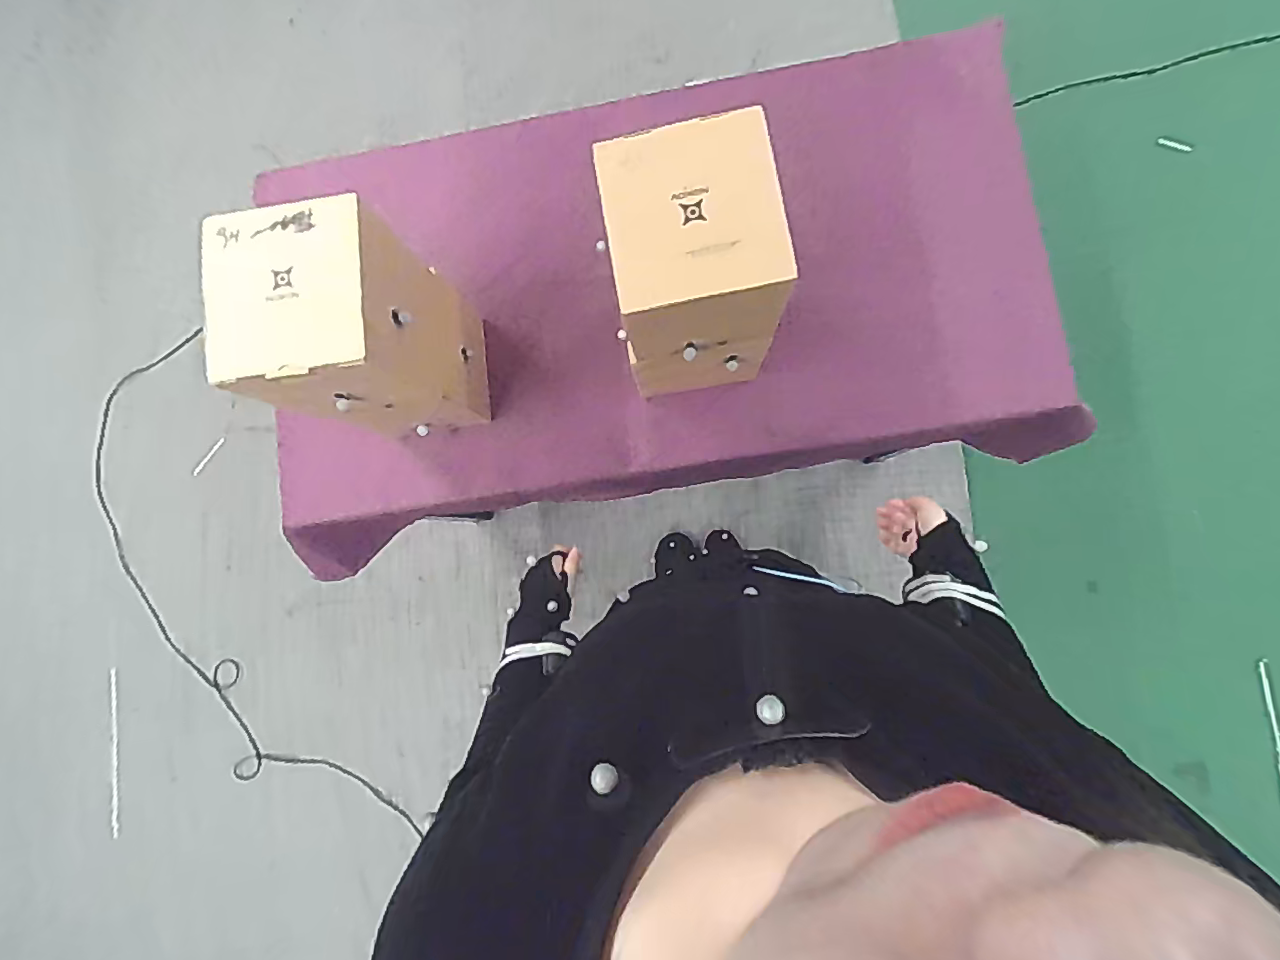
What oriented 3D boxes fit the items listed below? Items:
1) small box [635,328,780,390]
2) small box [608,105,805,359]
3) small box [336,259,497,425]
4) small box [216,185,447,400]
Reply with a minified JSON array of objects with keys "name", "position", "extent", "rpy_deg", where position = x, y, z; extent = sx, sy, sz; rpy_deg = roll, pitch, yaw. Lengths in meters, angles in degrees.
[{"name":"small box","position":[0.081,-0.233,0.745],"extent":[0.179,0.176,0.168],"rpy_deg":[-8,84,4]},{"name":"small box","position":[0.065,-0.249,0.583],"extent":[0.168,0.176,0.179],"rpy_deg":[-9,85,5]},{"name":"small box","position":[-0.315,-0.187,0.775],"extent":[0.168,0.176,0.179],"rpy_deg":[-6,85,4]},{"name":"small box","position":[-0.332,-0.193,0.611],"extent":[0.168,0.176,0.179],"rpy_deg":[-5,85,4]}]
